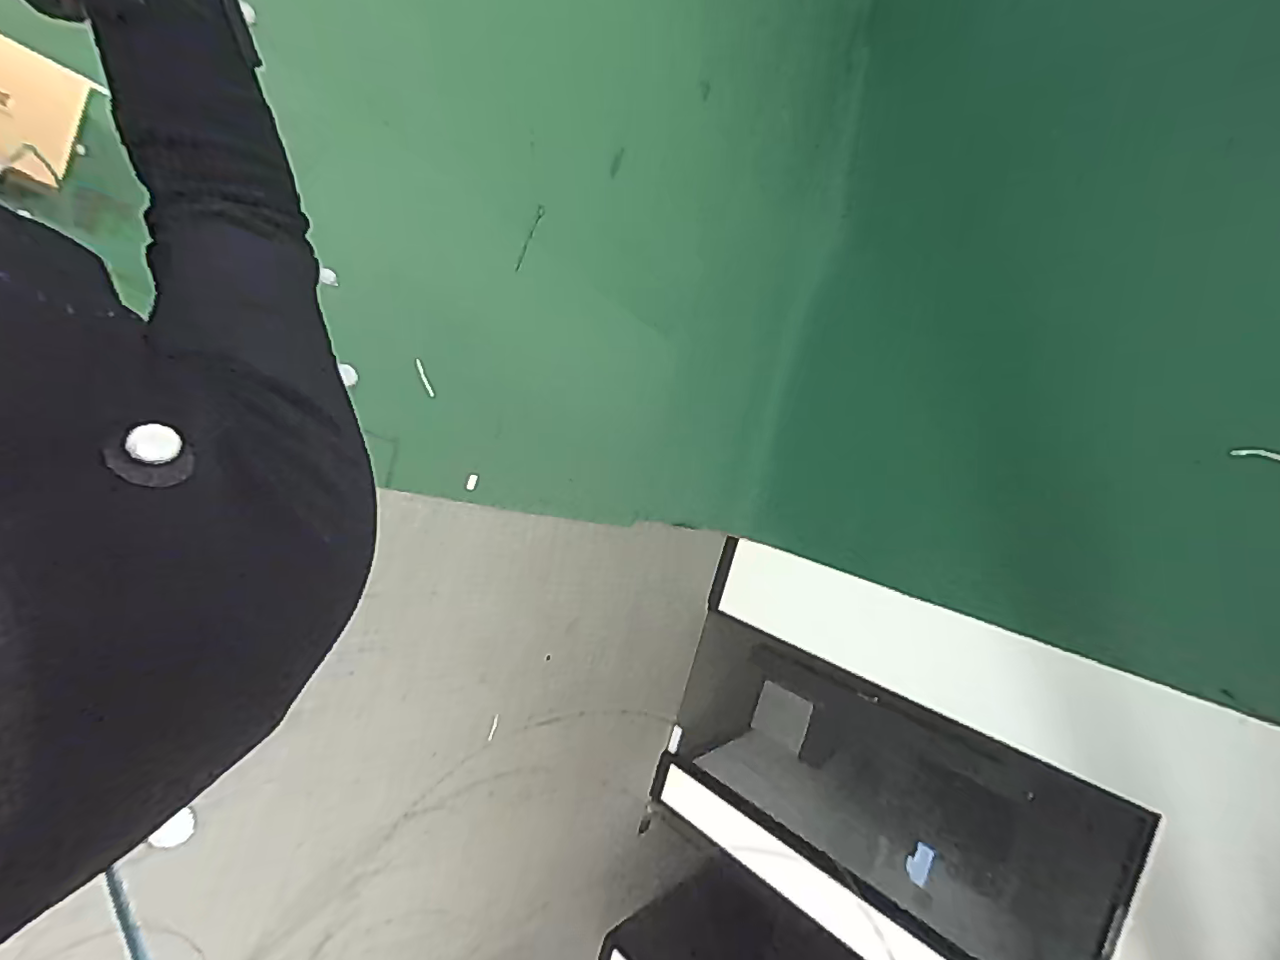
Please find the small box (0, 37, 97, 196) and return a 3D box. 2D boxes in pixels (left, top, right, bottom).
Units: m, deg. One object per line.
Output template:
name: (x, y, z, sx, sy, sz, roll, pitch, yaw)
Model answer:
small box: (-1.010, -0.581, 0.857, 0.168, 0.176, 0.179, 17, 91, -52)
